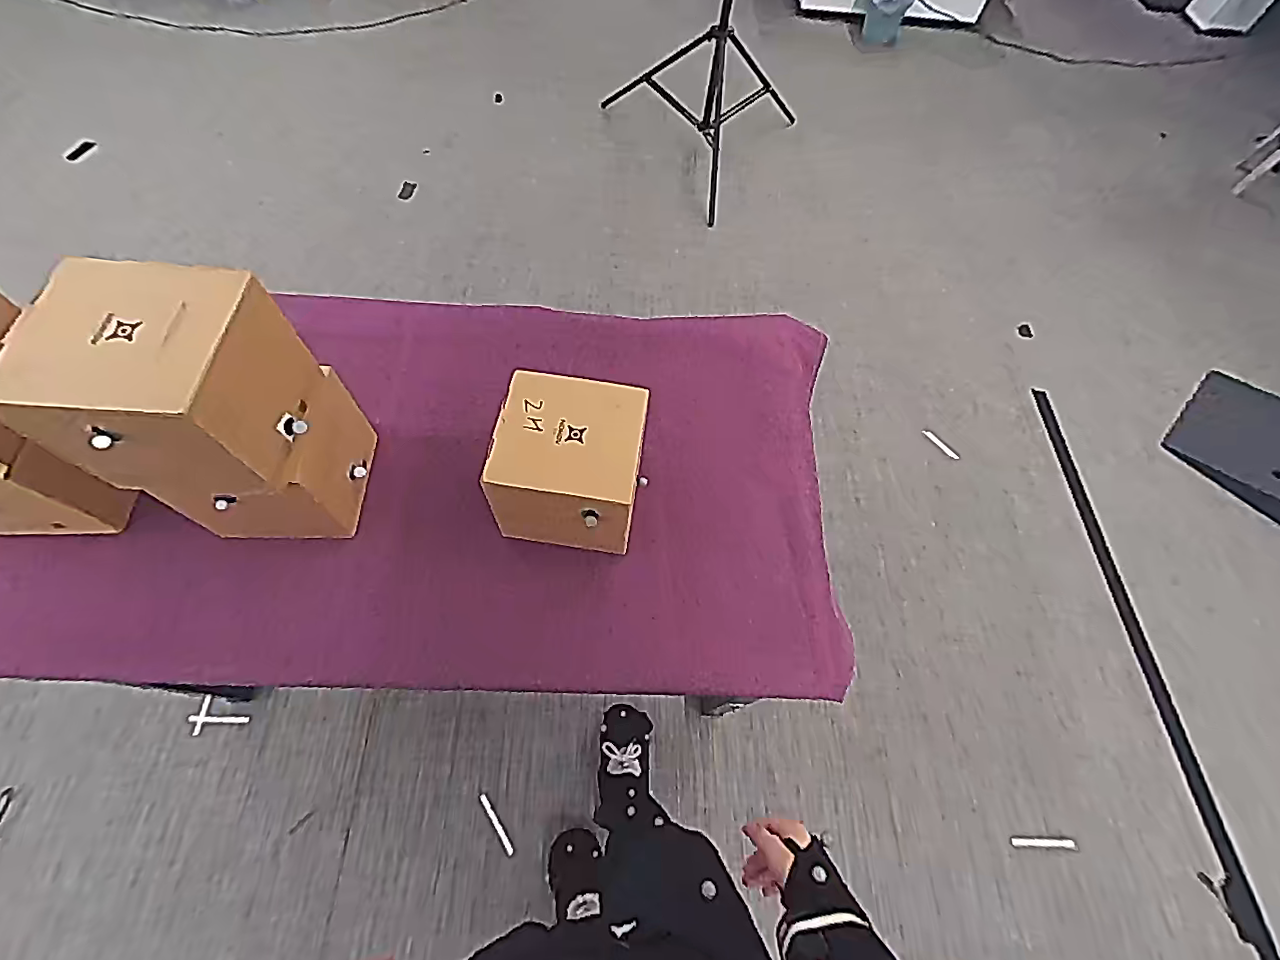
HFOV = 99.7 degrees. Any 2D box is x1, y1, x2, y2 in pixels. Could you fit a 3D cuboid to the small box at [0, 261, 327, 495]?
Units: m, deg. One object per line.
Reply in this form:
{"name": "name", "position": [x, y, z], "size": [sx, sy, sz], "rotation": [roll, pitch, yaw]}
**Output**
{"name": "small box", "position": [-0.462, -0.094, 0.551], "size": [0.179, 0.176, 0.168], "rotation": [4, 64, -4]}

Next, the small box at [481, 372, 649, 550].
{"name": "small box", "position": [-0.090, -0.017, 0.720], "size": [0.179, 0.176, 0.168], "rotation": [9, 62, 1]}

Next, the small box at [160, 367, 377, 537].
{"name": "small box", "position": [-0.472, -0.031, 0.700], "size": [0.179, 0.176, 0.168], "rotation": [1, 63, -5]}

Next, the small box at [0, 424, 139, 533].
{"name": "small box", "position": [-0.766, -0.039, 0.683], "size": [0.168, 0.176, 0.179], "rotation": [-1, 62, -5]}
